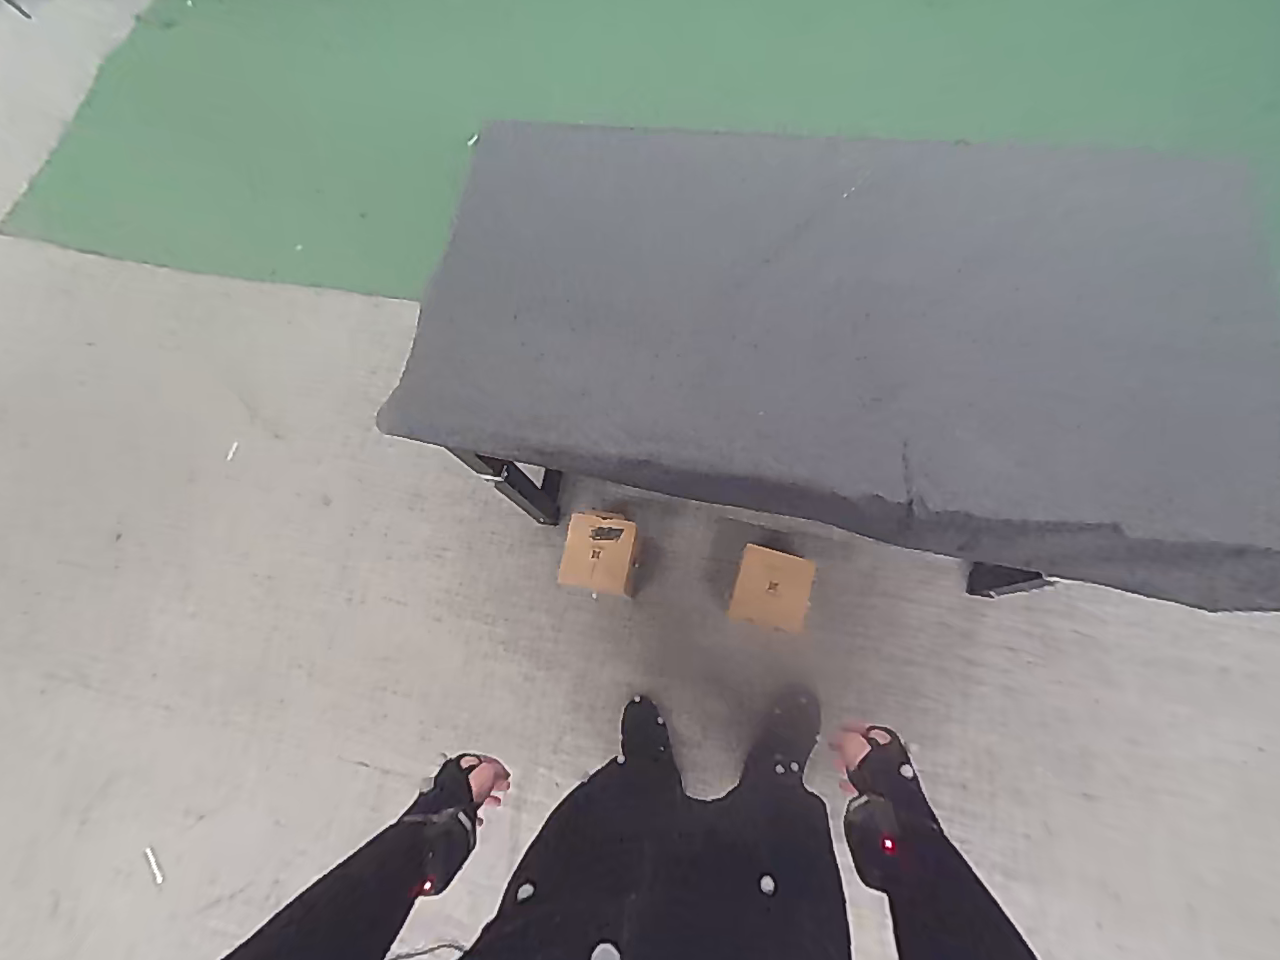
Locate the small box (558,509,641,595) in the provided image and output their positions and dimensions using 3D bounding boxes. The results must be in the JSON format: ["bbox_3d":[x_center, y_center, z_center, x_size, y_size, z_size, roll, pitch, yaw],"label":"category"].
[{"bbox_3d":[-0.095,0.187,1.372,0.168,0.176,0.179,8,75,9],"label":"small box"}]

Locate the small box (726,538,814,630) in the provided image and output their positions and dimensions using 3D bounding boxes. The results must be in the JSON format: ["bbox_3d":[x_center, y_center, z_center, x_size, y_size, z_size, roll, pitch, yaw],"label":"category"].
[{"bbox_3d":[0.309,0.258,1.312,0.168,0.176,0.179,14,74,9],"label":"small box"}]
